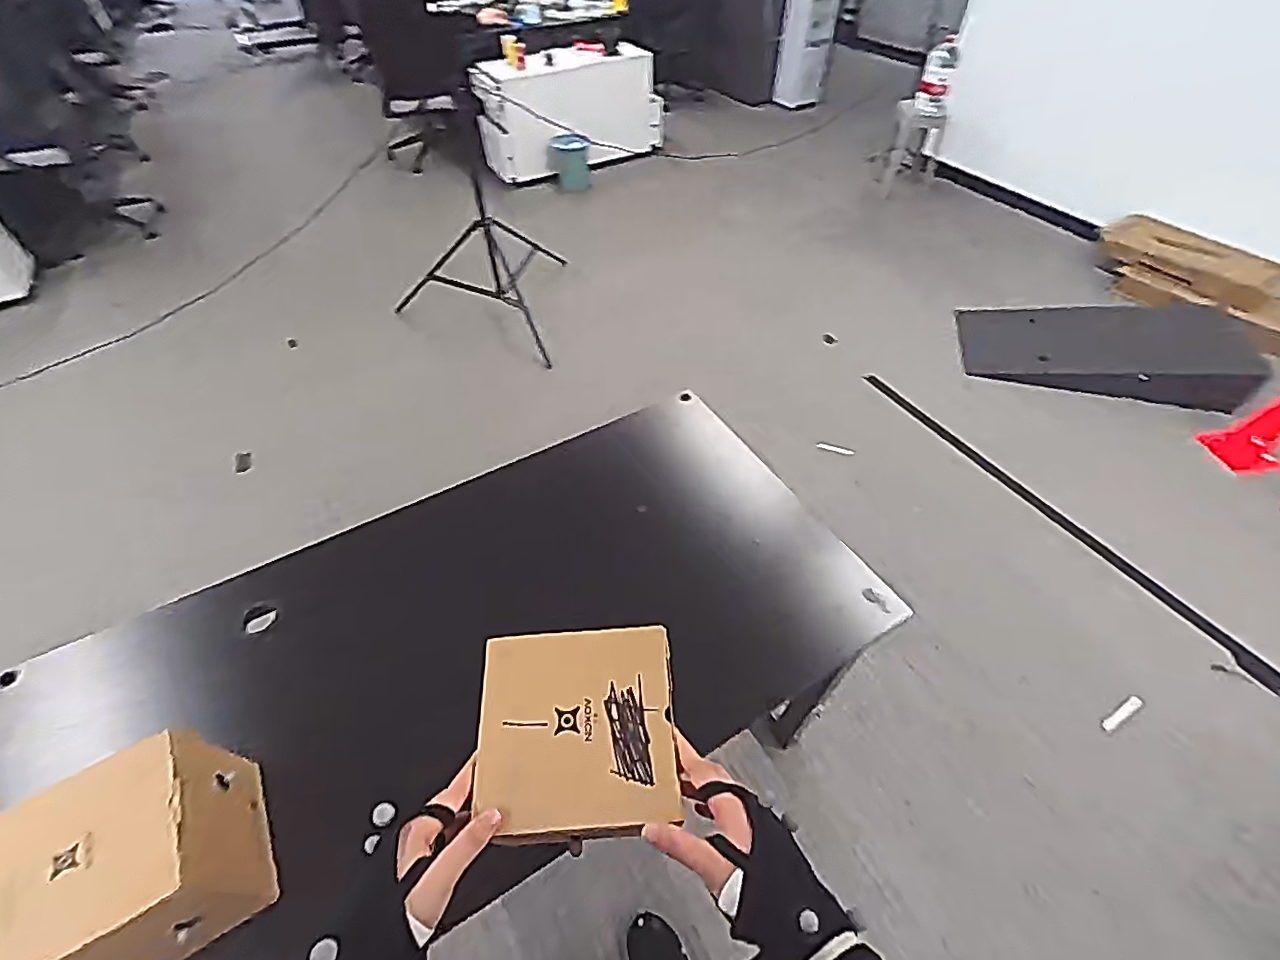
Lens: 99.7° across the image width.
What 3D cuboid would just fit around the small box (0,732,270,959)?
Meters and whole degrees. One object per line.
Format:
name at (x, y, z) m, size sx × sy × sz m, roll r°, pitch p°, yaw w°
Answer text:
small box at (-0.518, 0.403, 0.561) m, size 0.179 × 0.176 × 0.168 m, roll -27°, pitch 53°, yaw -20°

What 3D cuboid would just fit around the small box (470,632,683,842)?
small box at (-0.054, 0.264, 0.548) m, size 0.179 × 0.176 × 0.168 m, roll -3°, pitch 54°, yaw 0°
